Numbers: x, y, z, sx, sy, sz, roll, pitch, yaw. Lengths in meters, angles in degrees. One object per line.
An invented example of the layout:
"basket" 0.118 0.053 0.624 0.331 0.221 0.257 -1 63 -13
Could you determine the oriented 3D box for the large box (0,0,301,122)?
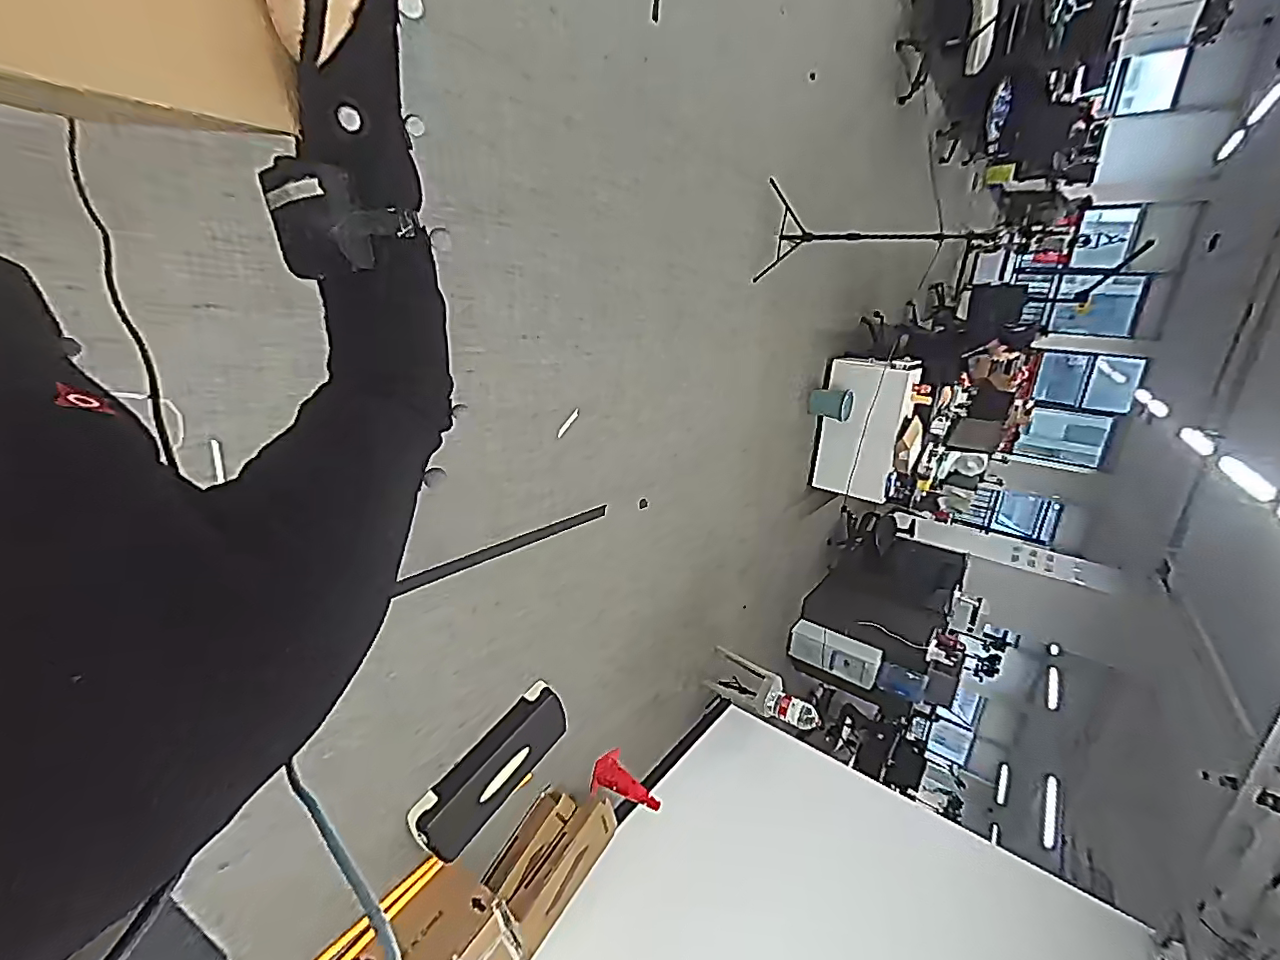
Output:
"large box" -0.426 -0.349 0.189 0.408 0.320 0.320 -28 133 -51
